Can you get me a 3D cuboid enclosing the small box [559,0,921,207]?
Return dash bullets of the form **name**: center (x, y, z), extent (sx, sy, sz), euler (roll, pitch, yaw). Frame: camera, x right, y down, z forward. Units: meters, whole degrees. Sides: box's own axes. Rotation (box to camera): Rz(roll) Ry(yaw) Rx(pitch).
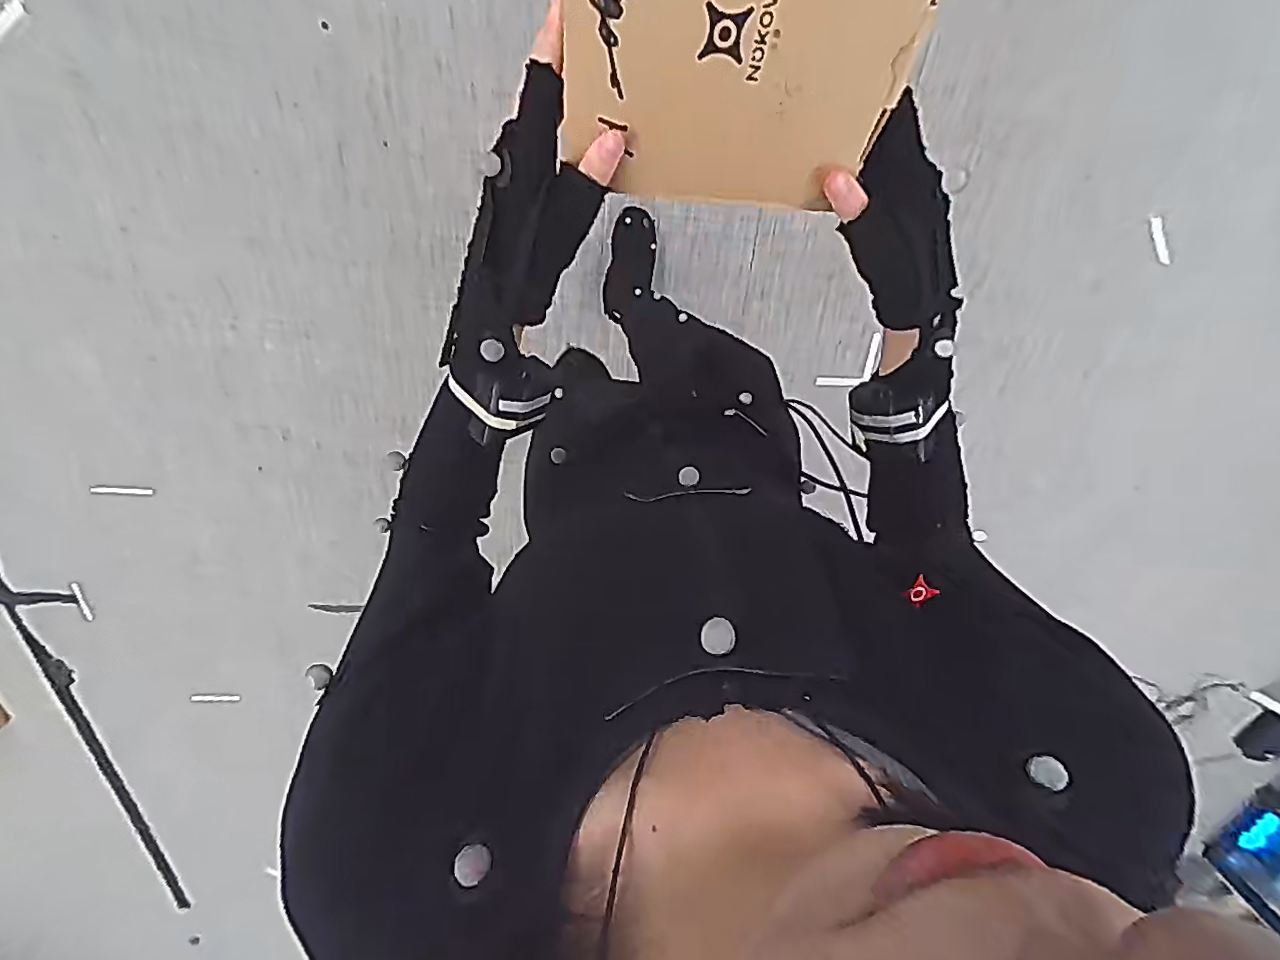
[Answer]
- **small box**: center (0.044, -0.288, 0.312), extent (0.179, 0.176, 0.168), euler (2, 146, -7)
